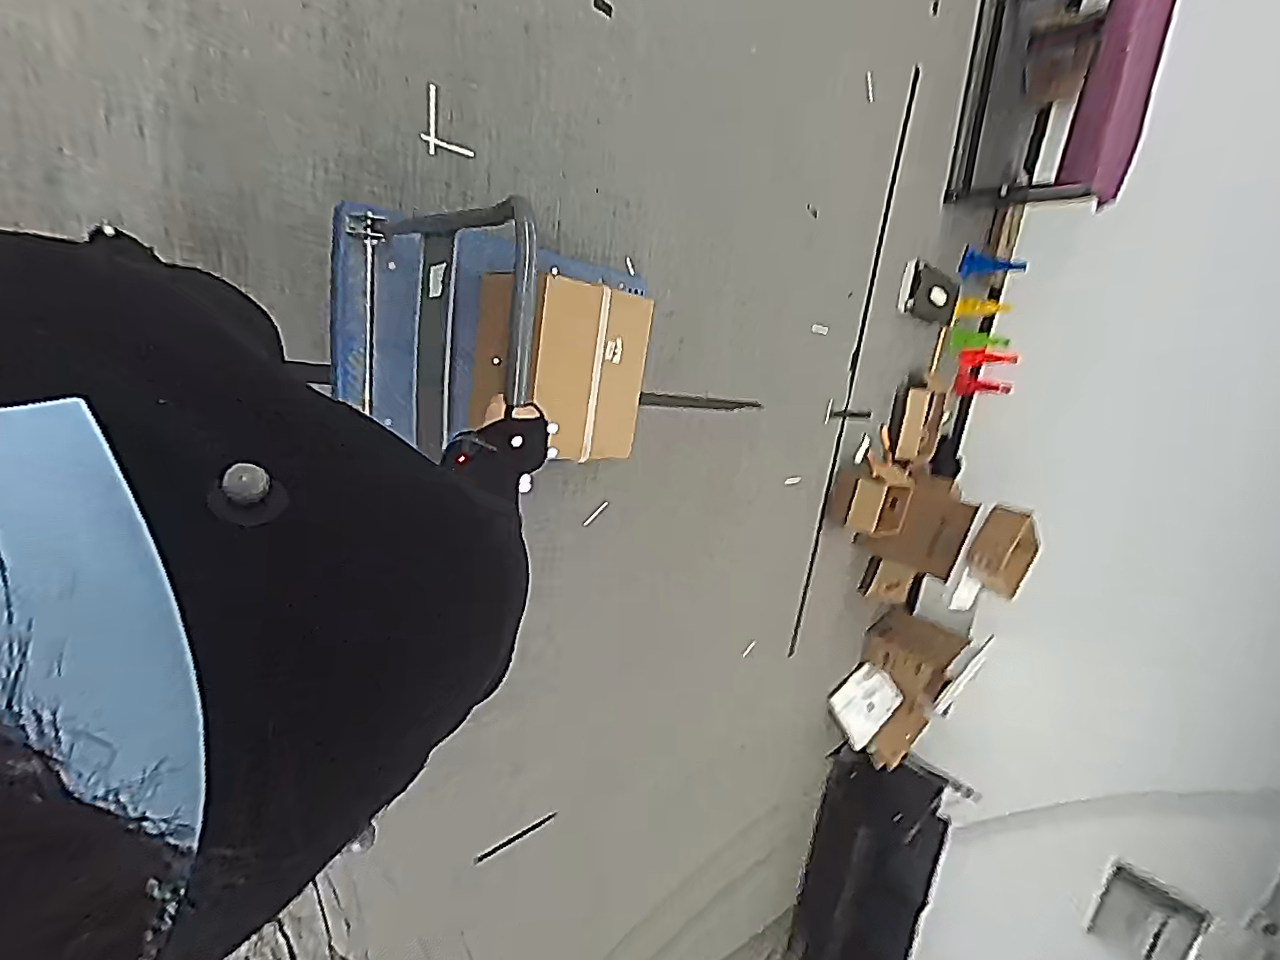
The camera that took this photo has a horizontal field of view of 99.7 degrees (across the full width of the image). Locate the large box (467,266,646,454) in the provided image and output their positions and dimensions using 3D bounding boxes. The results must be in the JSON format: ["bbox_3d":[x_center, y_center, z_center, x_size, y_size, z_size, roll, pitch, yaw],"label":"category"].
[{"bbox_3d":[-0.219,-0.291,1.358,0.320,0.320,0.408,-3,107,-44],"label":"large box"}]
